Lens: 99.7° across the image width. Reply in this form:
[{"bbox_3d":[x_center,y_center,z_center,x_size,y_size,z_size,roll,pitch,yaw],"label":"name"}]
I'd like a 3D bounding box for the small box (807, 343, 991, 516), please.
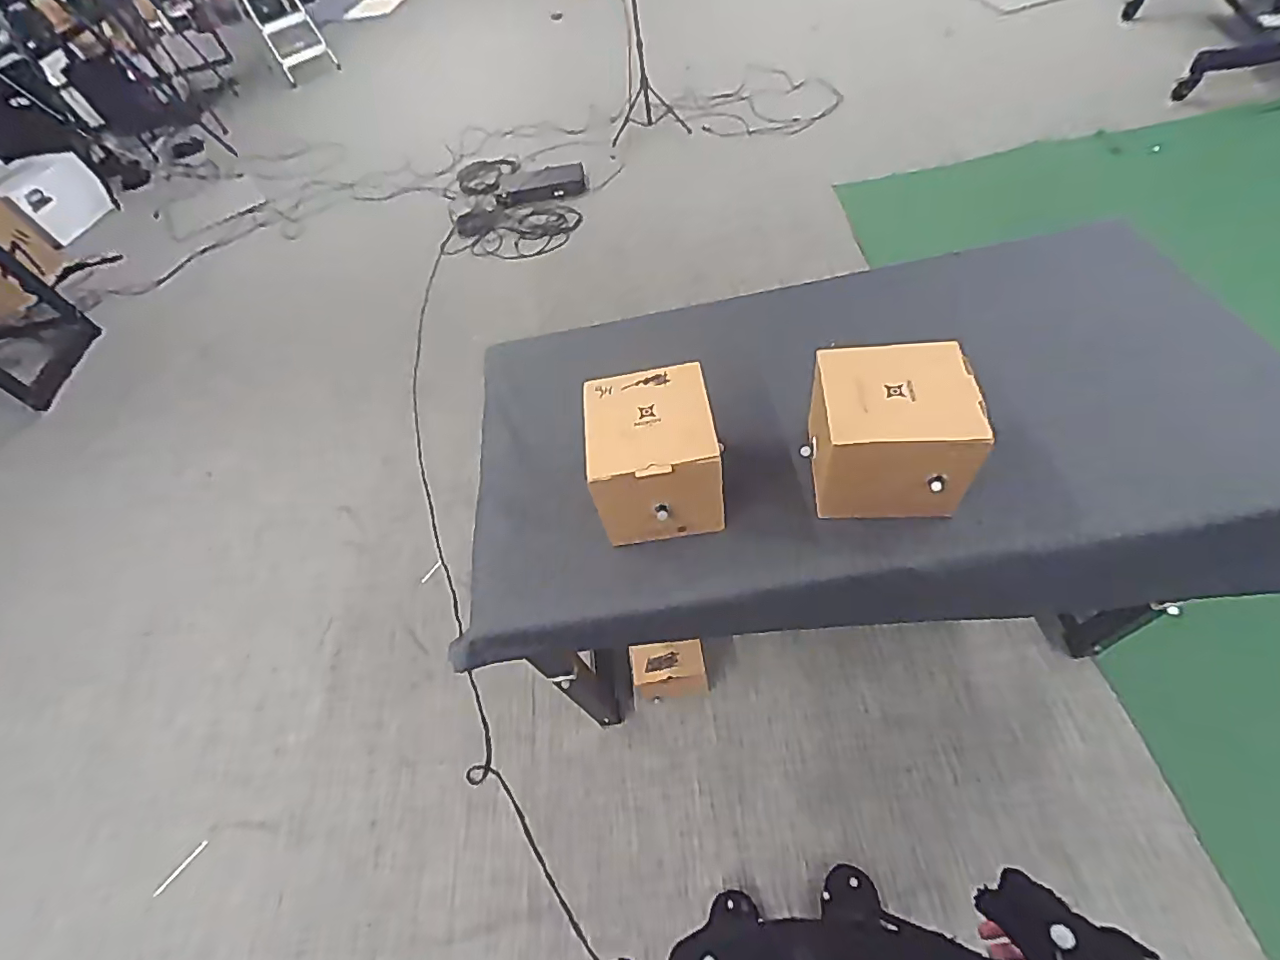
[{"bbox_3d":[0.329,-0.062,0.729,0.179,0.176,0.168,-1,55,11],"label":"small box"}]

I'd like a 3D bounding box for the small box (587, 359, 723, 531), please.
[{"bbox_3d":[0.024,-0.040,0.767,0.168,0.176,0.179,-8,55,5],"label":"small box"}]
